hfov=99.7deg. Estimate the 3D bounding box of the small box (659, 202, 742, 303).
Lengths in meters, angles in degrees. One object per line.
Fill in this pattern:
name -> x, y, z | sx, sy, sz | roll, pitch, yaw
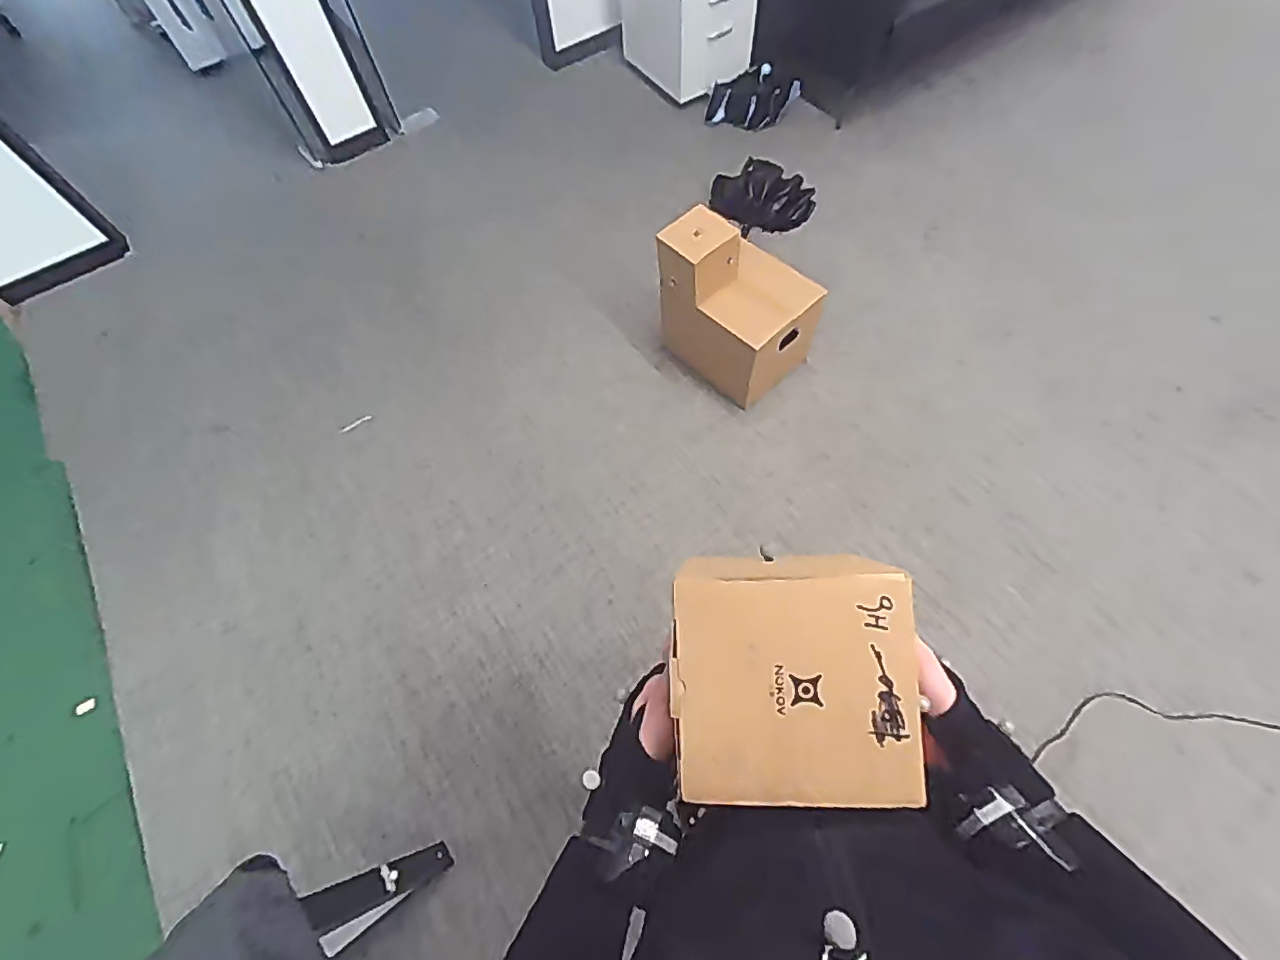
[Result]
small box -> 0.174, -0.657, 1.571 | 0.179, 0.176, 0.168 | -40, 66, -10
